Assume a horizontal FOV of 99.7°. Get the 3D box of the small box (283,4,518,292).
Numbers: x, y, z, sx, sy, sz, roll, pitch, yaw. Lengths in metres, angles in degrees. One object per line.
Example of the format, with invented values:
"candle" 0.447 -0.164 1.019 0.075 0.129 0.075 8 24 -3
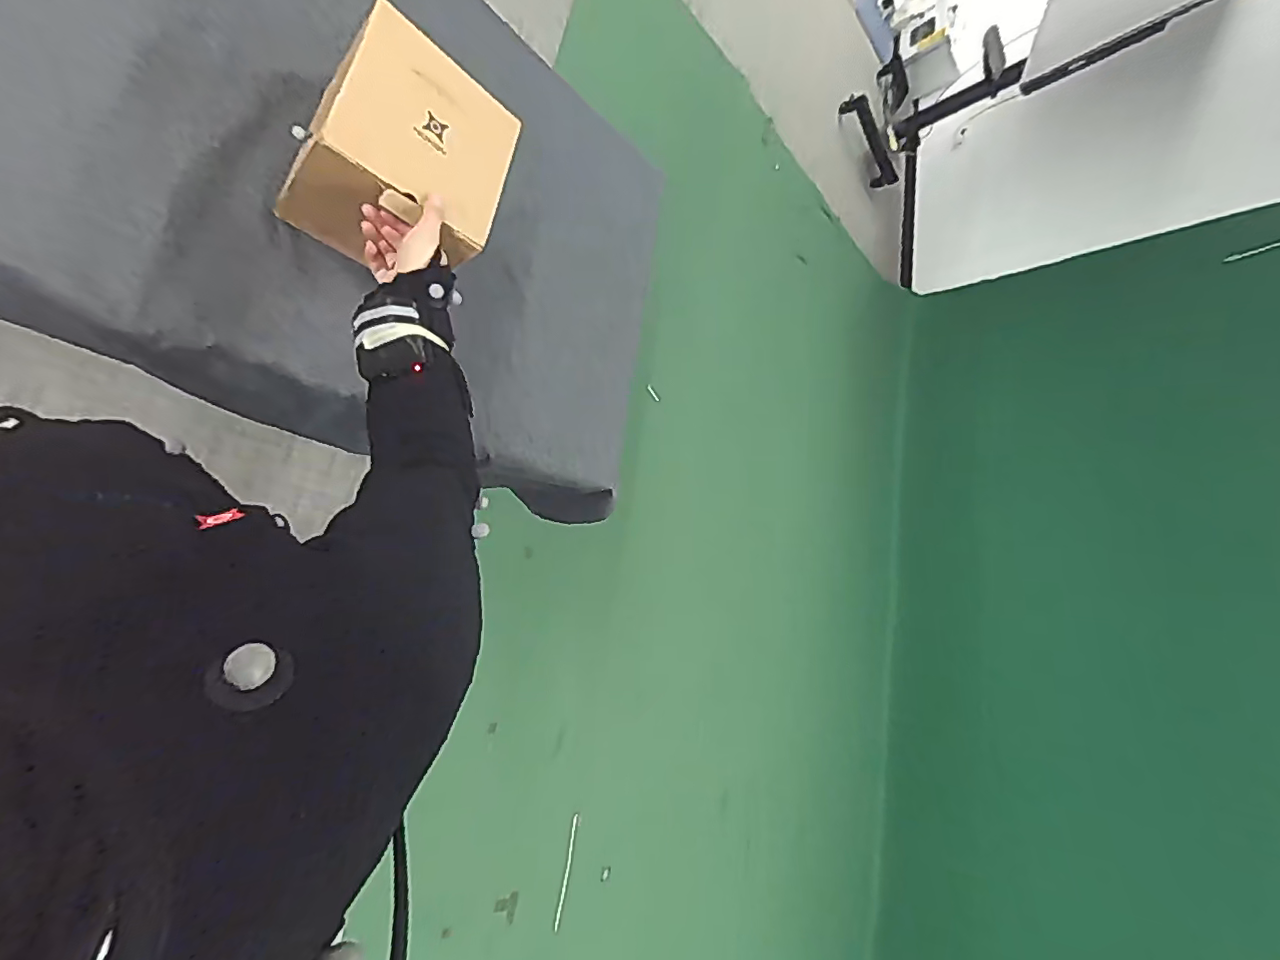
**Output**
"small box" -0.265 -0.339 0.597 0.168 0.176 0.179 24 69 -43
